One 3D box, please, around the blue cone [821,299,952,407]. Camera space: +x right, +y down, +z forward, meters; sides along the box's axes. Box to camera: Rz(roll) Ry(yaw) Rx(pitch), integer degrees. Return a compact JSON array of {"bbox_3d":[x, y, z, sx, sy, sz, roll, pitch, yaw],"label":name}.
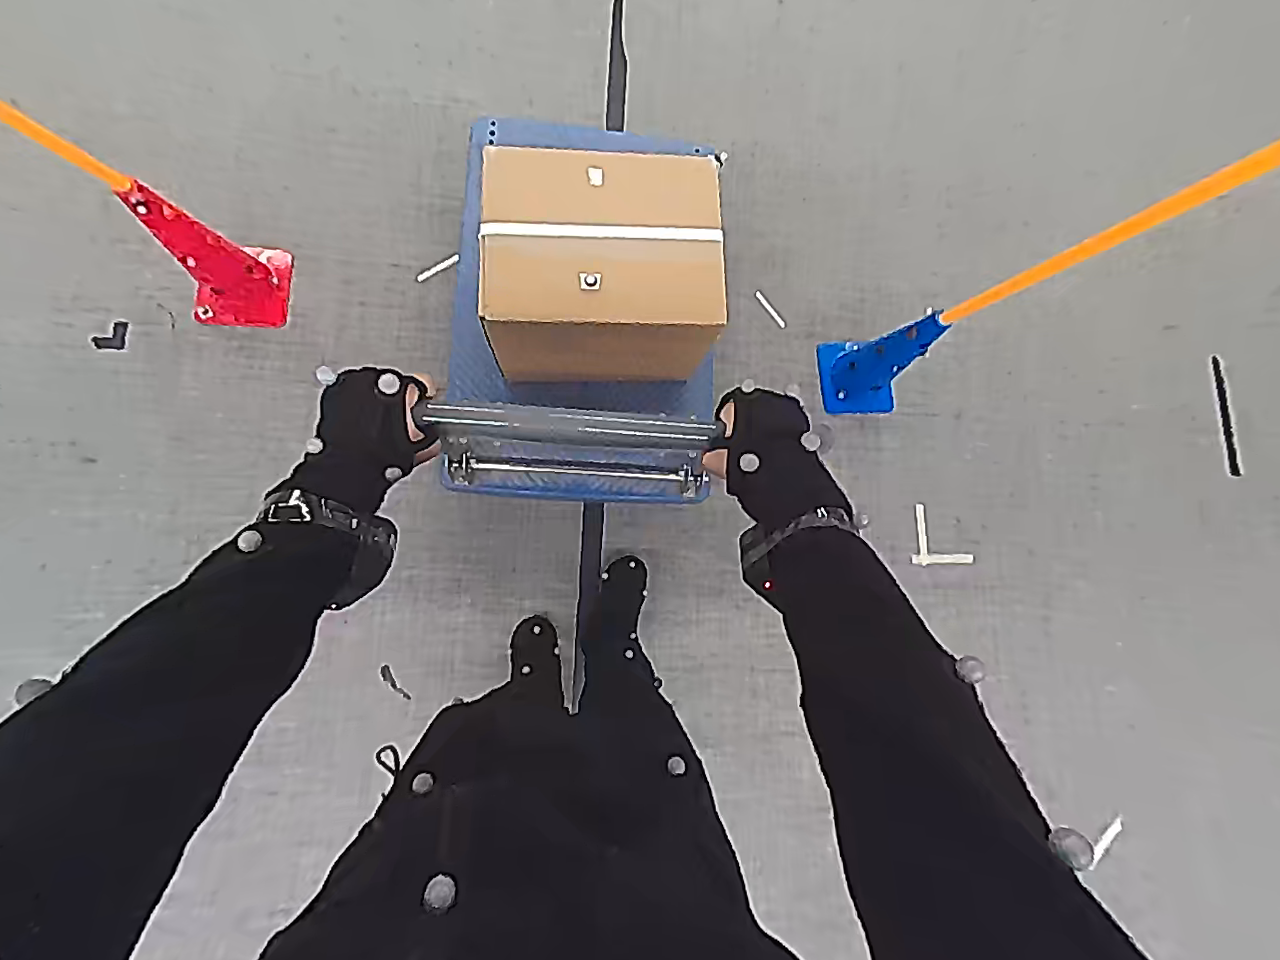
[{"bbox_3d":[0.605,-0.315,1.289,0.193,0.380,0.192,-1,80,-8],"label":"blue cone"}]
